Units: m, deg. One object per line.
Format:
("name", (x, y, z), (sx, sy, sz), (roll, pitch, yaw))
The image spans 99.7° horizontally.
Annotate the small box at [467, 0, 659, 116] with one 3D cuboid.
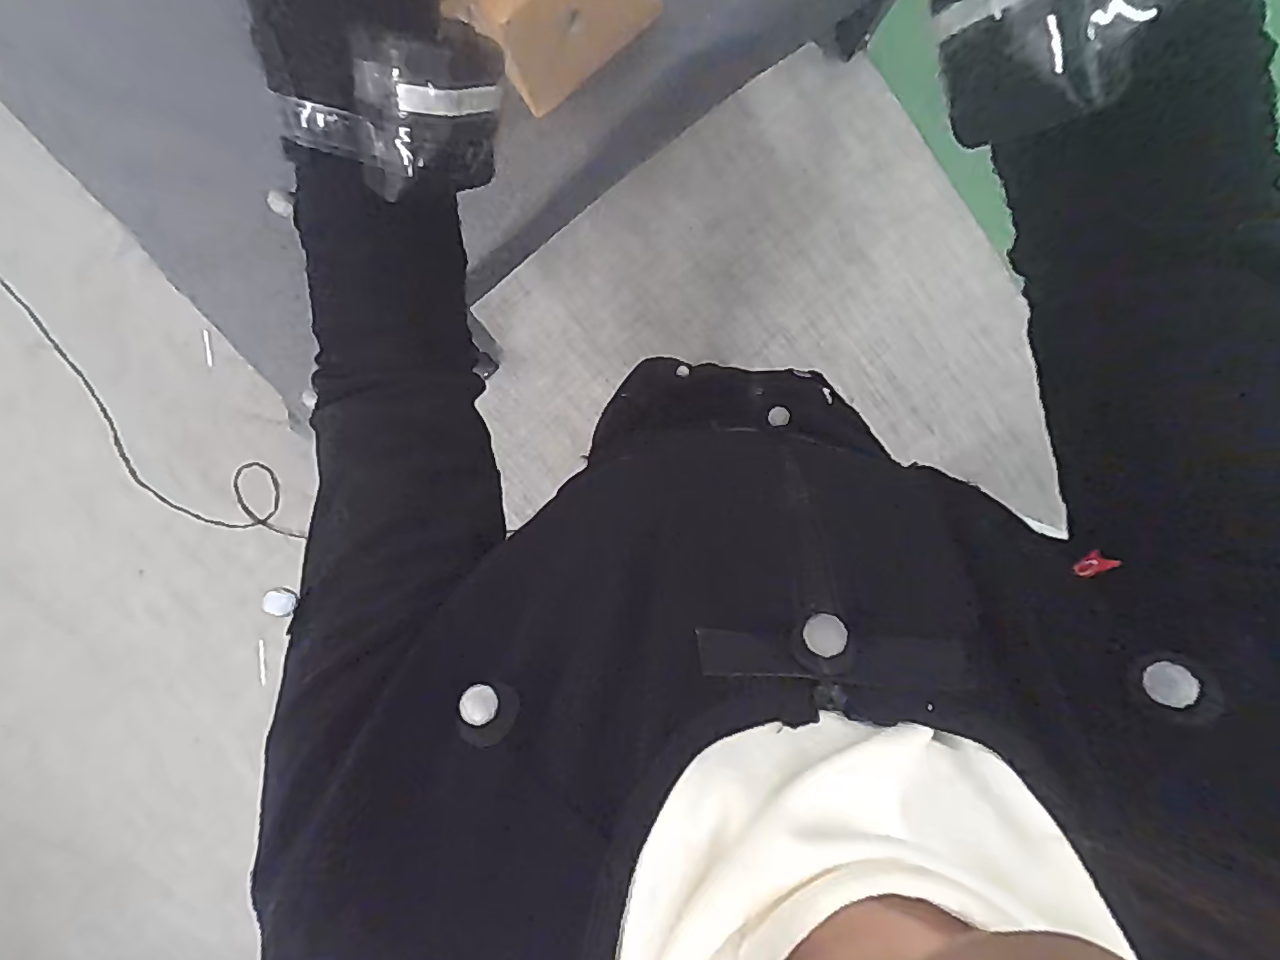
("small box", (-0.094, -0.500, 0.512), (0.179, 0.176, 0.168), (-35, 97, 9))
